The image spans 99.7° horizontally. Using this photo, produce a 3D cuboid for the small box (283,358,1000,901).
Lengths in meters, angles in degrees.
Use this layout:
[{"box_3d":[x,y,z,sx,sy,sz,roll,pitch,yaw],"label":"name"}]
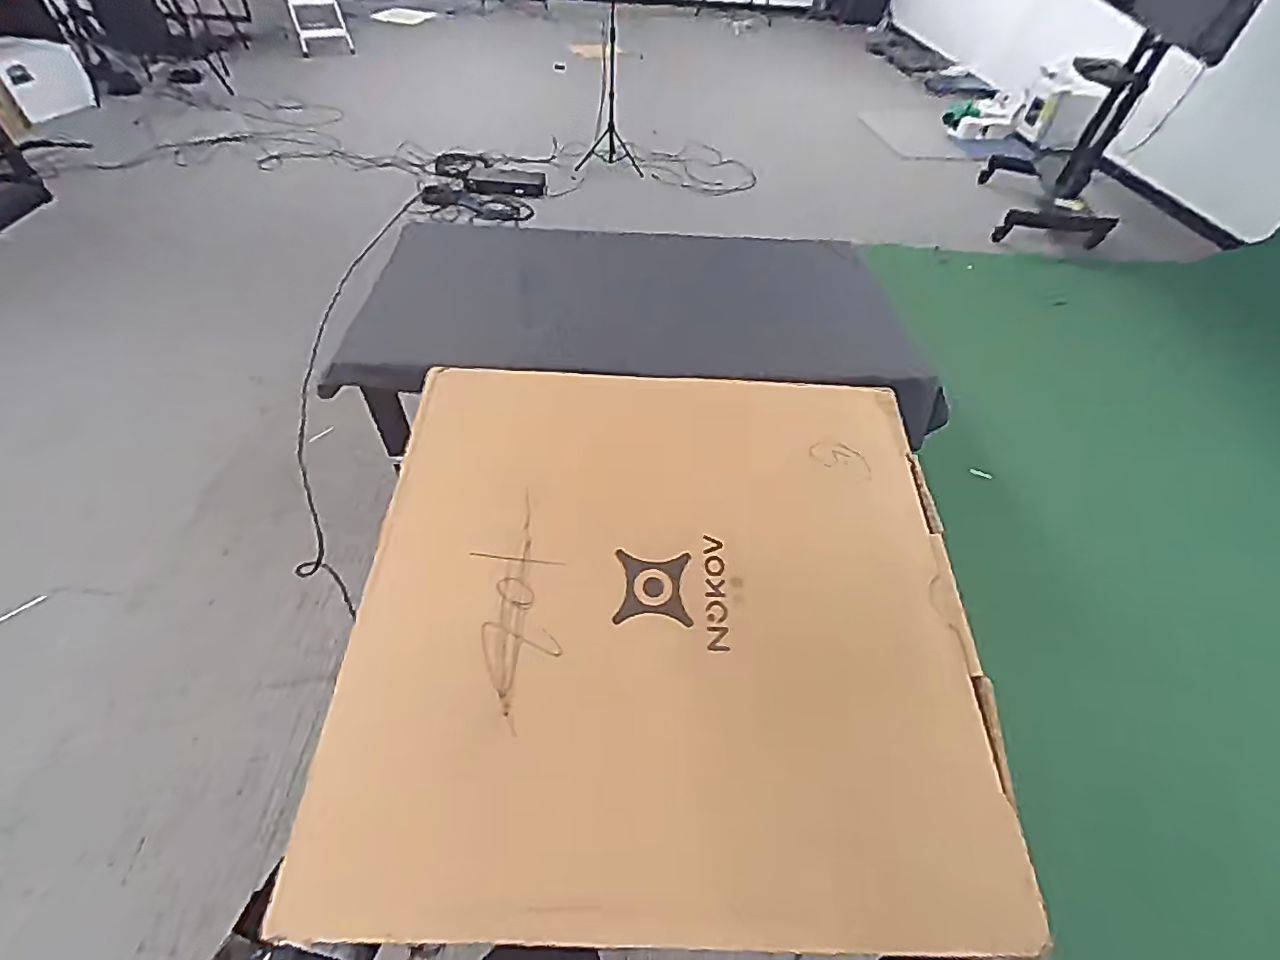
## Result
[{"box_3d":[0.001,0.068,0.237,0.179,0.176,0.168,1,58,0],"label":"small box"}]
